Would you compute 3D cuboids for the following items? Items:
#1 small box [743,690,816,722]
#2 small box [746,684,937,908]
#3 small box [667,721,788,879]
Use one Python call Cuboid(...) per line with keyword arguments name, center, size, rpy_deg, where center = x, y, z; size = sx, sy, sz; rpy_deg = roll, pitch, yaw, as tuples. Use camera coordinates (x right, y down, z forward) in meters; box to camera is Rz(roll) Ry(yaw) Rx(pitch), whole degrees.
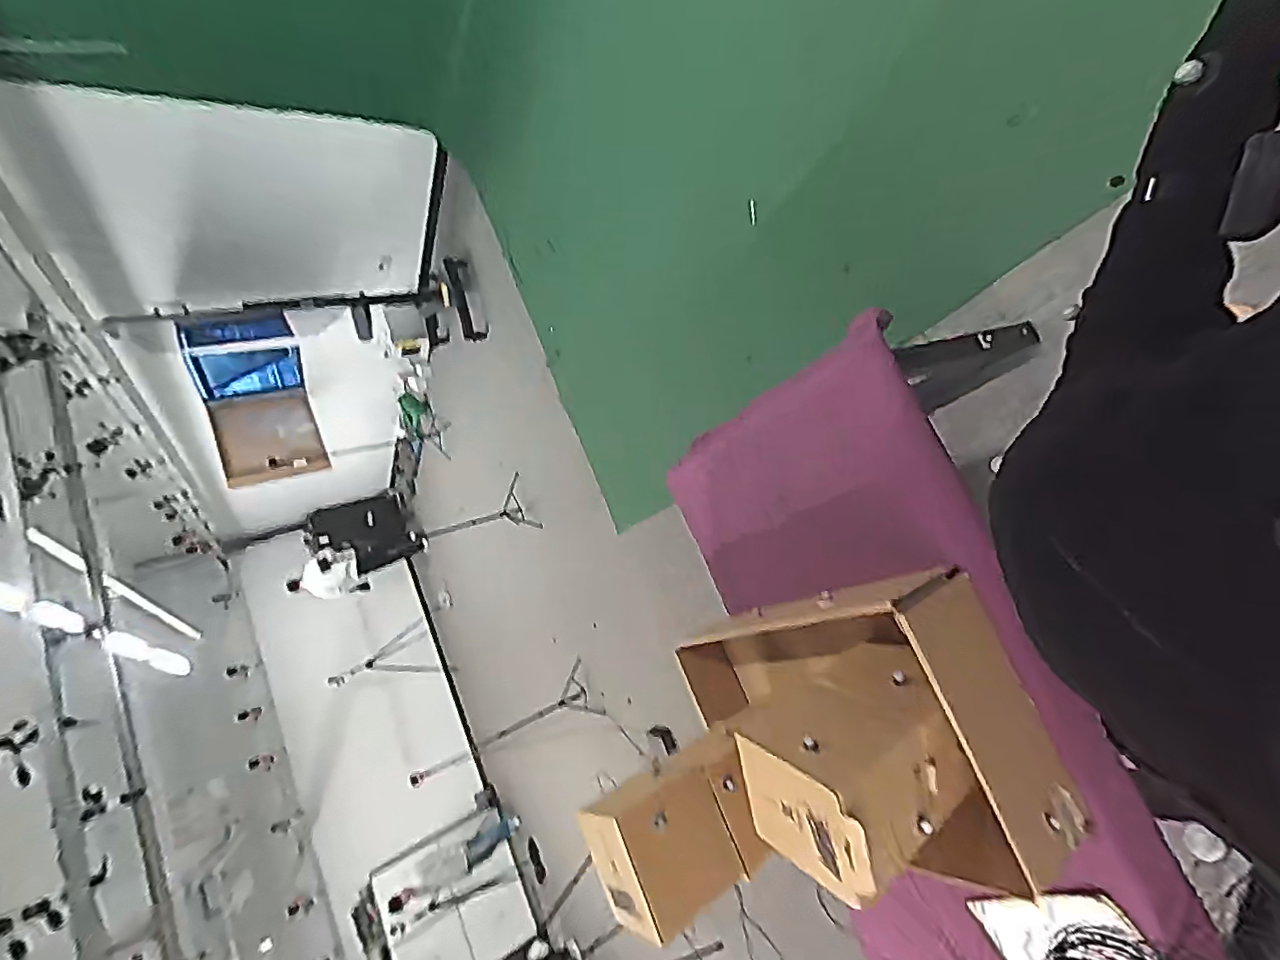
Cuboid(name="small box", center=(0.314, 0.522, 1.051), size=(0.179, 0.176, 0.168), rpy_deg=(-37, 72, 54))
Cuboid(name="small box", center=(0.279, 0.407, 0.738), size=(0.179, 0.176, 0.168), rpy_deg=(1, 106, 59))
Cuboid(name="small box", center=(0.183, 0.553, 0.961), size=(0.168, 0.176, 0.179), rpy_deg=(-41, 69, 54))
